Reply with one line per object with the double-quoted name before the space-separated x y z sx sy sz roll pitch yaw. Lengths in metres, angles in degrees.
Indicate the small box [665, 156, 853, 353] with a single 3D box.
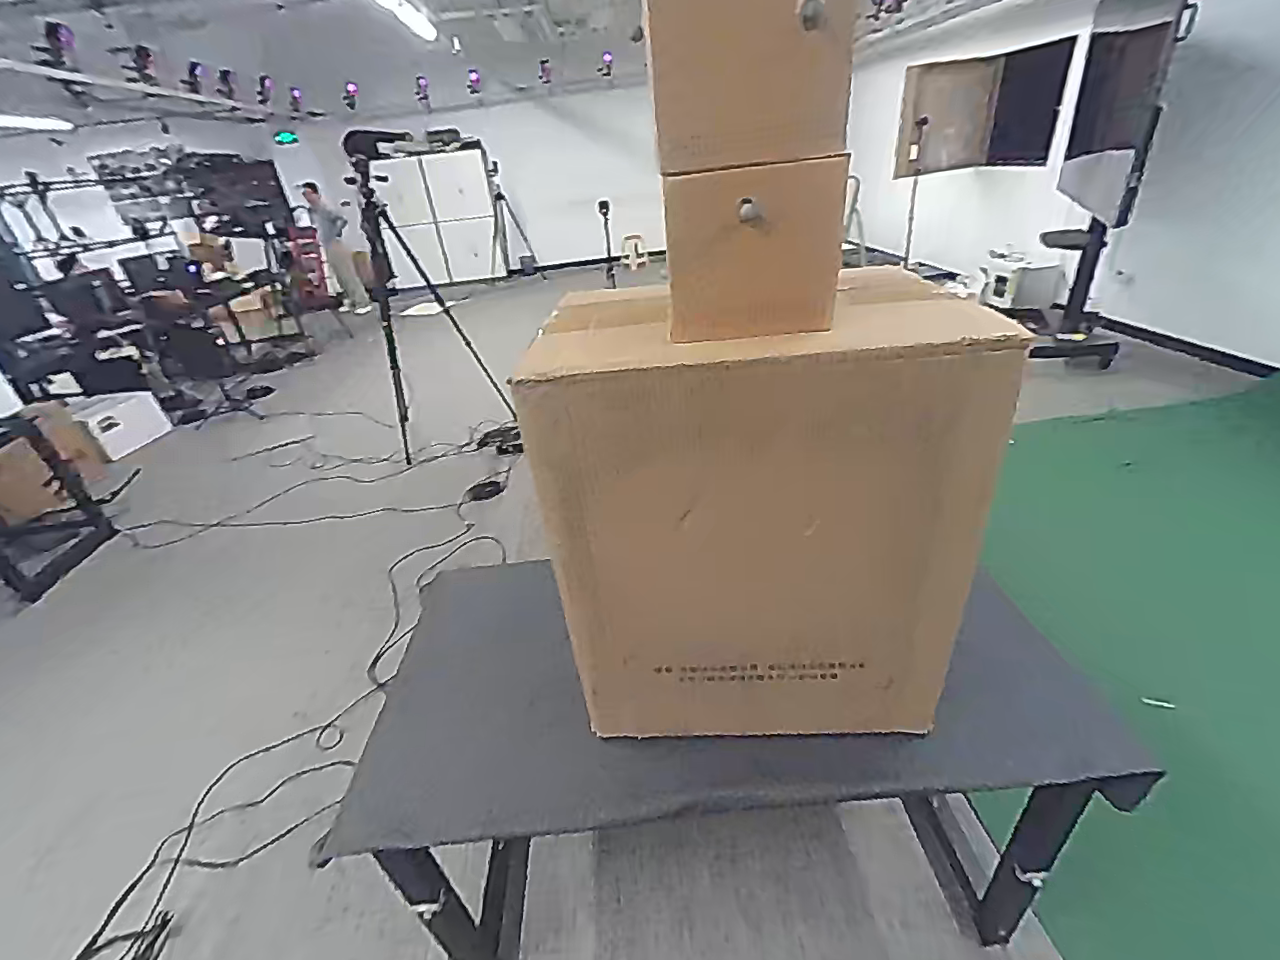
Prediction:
"small box" 0.122 -0.255 0.611 0.179 0.176 0.168 -3 33 6
